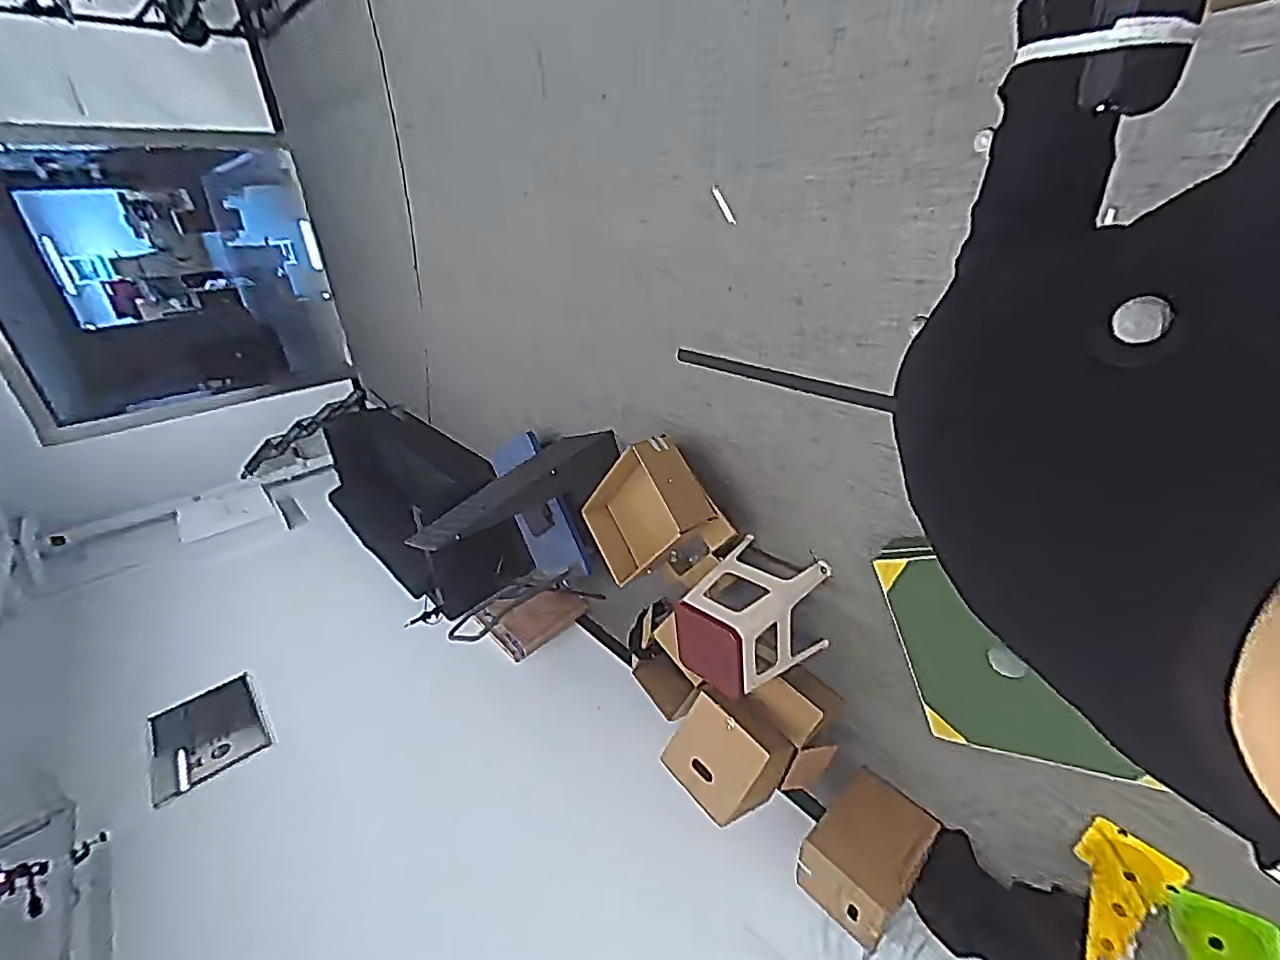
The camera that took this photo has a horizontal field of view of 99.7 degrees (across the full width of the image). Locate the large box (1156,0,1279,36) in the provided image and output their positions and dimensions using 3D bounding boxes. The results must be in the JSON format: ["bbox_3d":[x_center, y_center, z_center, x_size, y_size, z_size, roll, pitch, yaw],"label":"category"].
[{"bbox_3d":[0.529,-0.438,0.217,0.408,0.320,0.320,18,129,42],"label":"large box"}]
